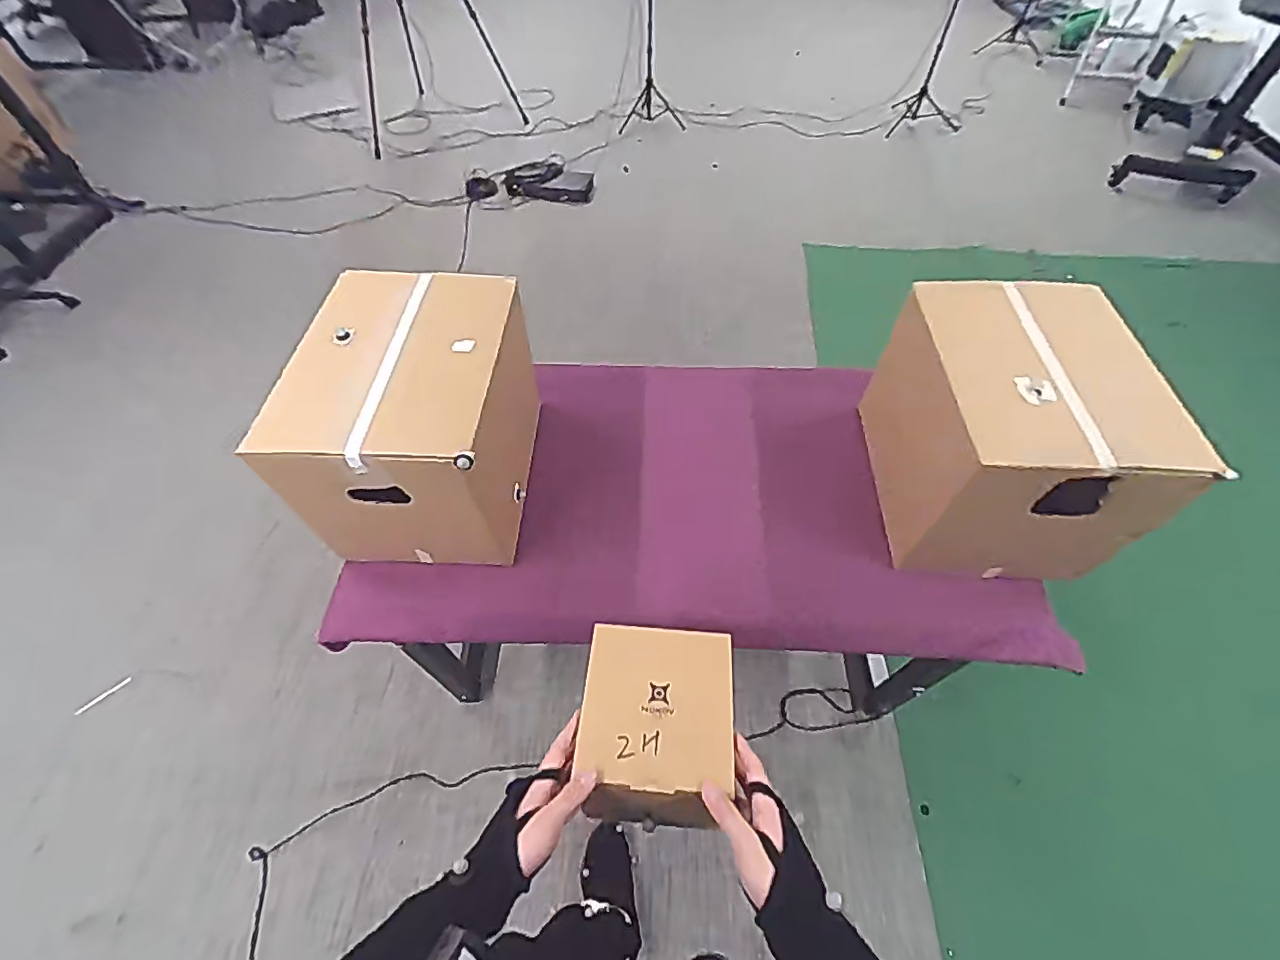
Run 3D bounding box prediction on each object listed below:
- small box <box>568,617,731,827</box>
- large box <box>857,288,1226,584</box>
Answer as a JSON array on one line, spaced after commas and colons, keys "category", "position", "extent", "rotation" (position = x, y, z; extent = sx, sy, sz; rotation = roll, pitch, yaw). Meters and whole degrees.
[{"category": "small box", "position": [0.017, 0.289, 0.648], "extent": [0.168, 0.176, 0.179], "rotation": [4, 47, 4]}, {"category": "large box", "position": [0.607, -0.074, 0.928], "extent": [0.320, 0.320, 0.408], "rotation": [2, 55, 3]}]
